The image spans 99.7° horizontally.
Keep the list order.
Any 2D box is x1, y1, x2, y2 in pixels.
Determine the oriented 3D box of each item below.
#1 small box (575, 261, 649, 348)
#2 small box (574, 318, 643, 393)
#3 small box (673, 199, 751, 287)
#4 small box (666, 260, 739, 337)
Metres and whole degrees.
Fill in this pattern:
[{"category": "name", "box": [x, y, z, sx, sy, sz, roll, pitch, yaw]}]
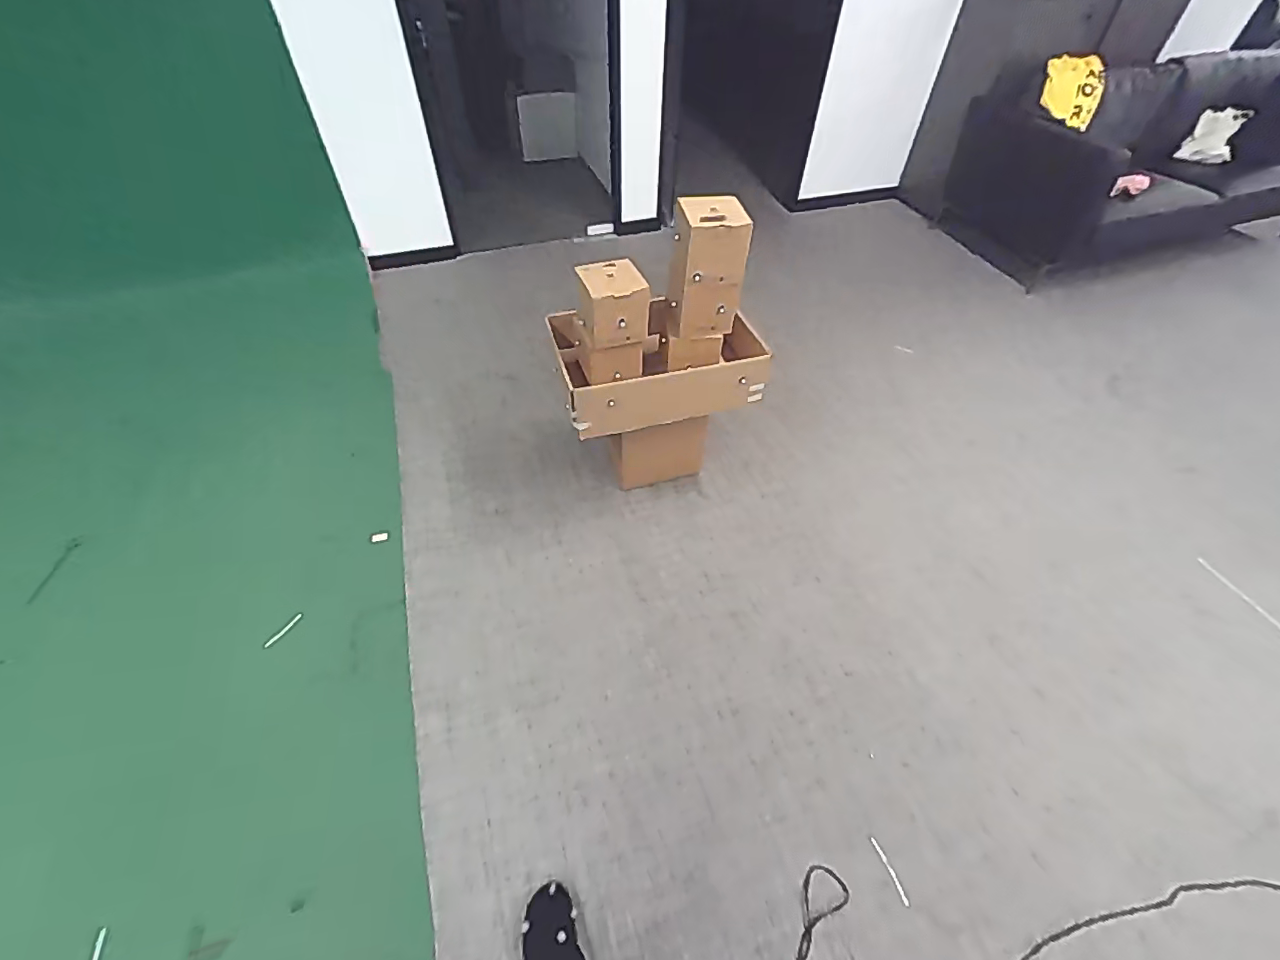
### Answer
[{"category": "small box", "box": [-0.081, -0.494, 1.544, 0.168, 0.176, 0.179, -14, 52, -15]}, {"category": "small box", "box": [-0.100, -0.395, 1.674, 0.168, 0.176, 0.179, -15, 52, -15]}, {"category": "small box", "box": [0.189, -0.641, 1.471, 0.168, 0.176, 0.179, -5, 49, -8]}, {"category": "small box", "box": [0.177, -0.536, 1.596, 0.168, 0.176, 0.179, -7, 50, -10]}]
